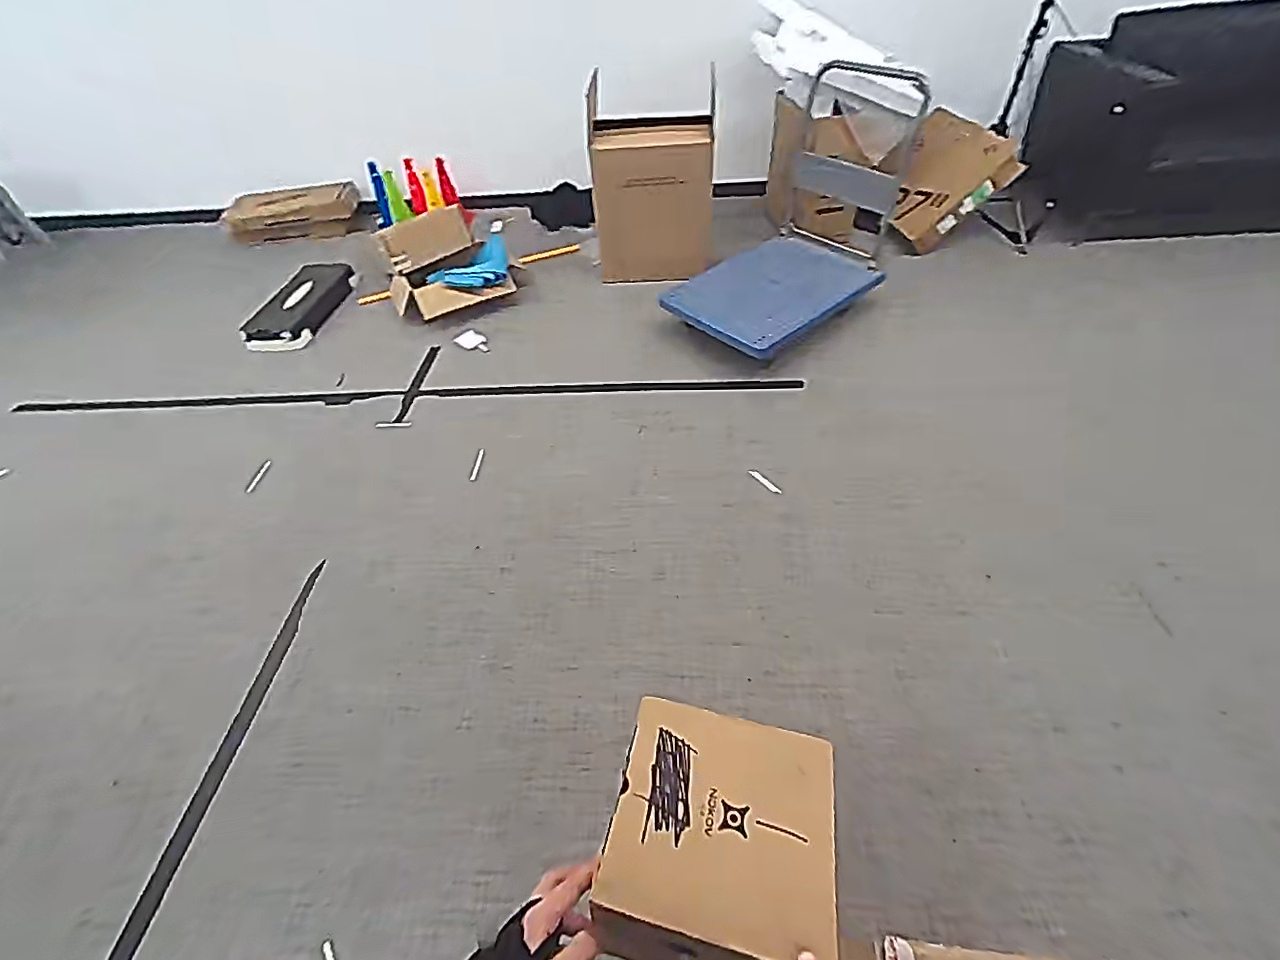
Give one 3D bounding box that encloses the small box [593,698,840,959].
[{"bbox_3d":[0.068,0.330,0.483,0.179,0.176,0.168,10,41,10],"label":"small box"}]
